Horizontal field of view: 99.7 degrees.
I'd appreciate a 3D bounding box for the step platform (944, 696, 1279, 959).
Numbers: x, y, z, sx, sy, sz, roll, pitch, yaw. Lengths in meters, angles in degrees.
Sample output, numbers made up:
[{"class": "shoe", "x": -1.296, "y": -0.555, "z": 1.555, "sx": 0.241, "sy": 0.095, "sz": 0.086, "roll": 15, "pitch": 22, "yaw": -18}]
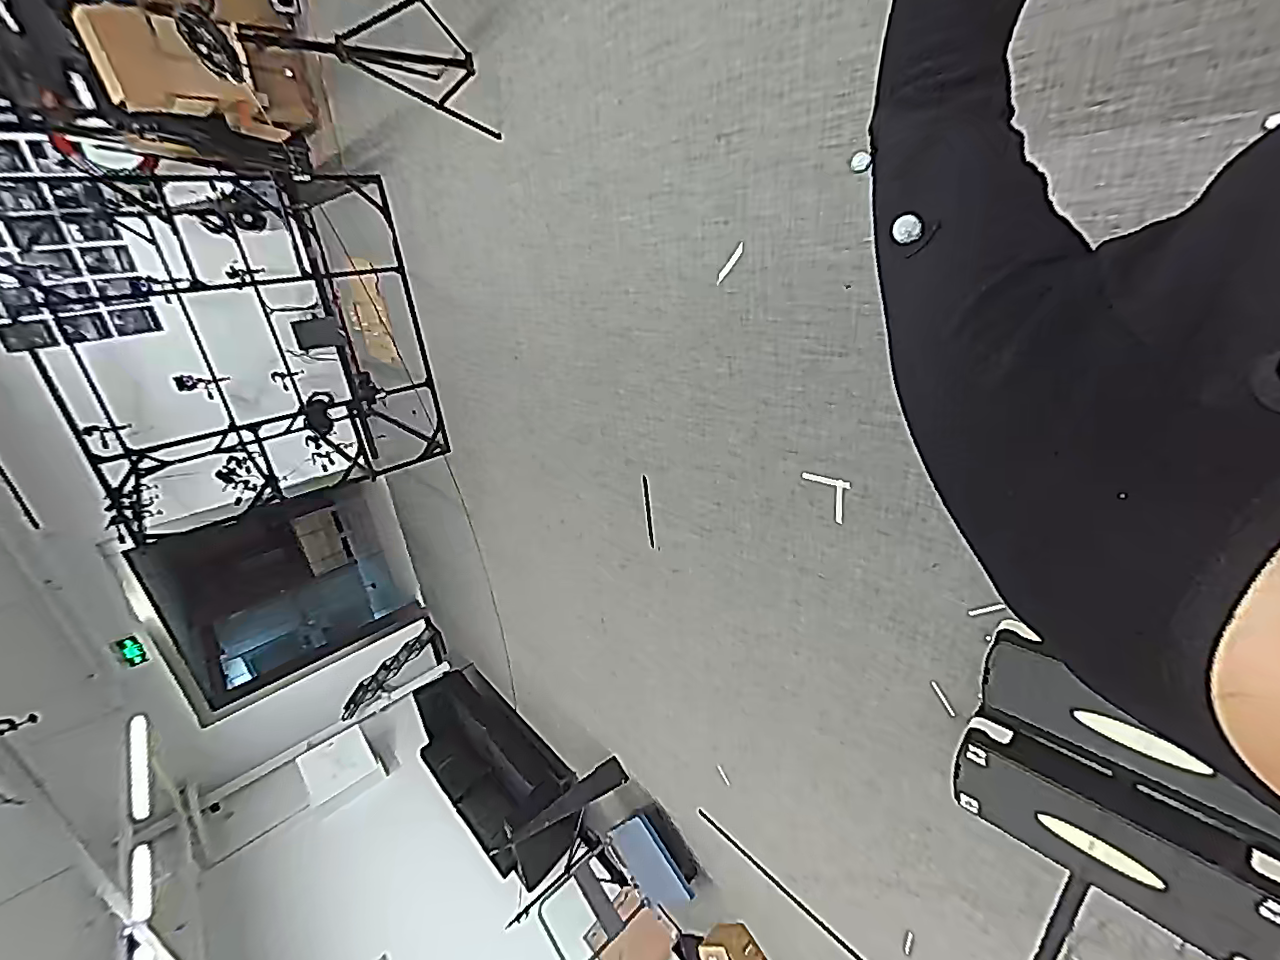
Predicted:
[{"class": "step platform", "x": 1.186, "y": 0.876, "z": 1.418, "sx": 0.684, "sy": 0.204, "sz": 0.286, "roll": 19, "pitch": 124, "yaw": 47}]
